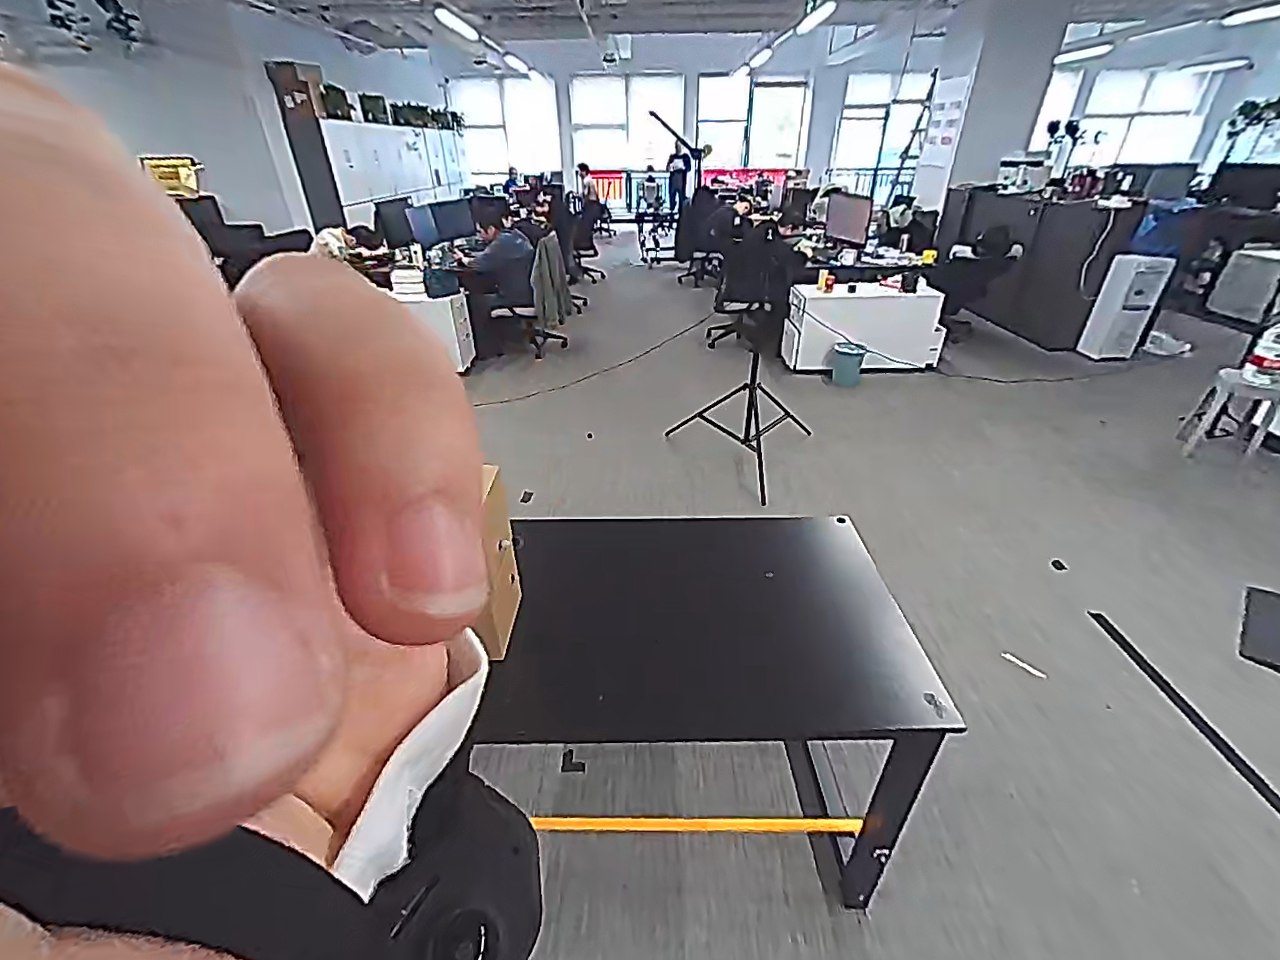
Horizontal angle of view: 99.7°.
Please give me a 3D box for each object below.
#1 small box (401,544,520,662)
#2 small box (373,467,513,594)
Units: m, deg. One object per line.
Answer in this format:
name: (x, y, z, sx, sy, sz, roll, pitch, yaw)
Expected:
small box: (-0.336, 0.230, 1.054, 0.168, 0.176, 0.179, -2, 32, 1)
small box: (-0.339, 0.090, 0.967, 0.179, 0.176, 0.168, -1, 31, 0)
